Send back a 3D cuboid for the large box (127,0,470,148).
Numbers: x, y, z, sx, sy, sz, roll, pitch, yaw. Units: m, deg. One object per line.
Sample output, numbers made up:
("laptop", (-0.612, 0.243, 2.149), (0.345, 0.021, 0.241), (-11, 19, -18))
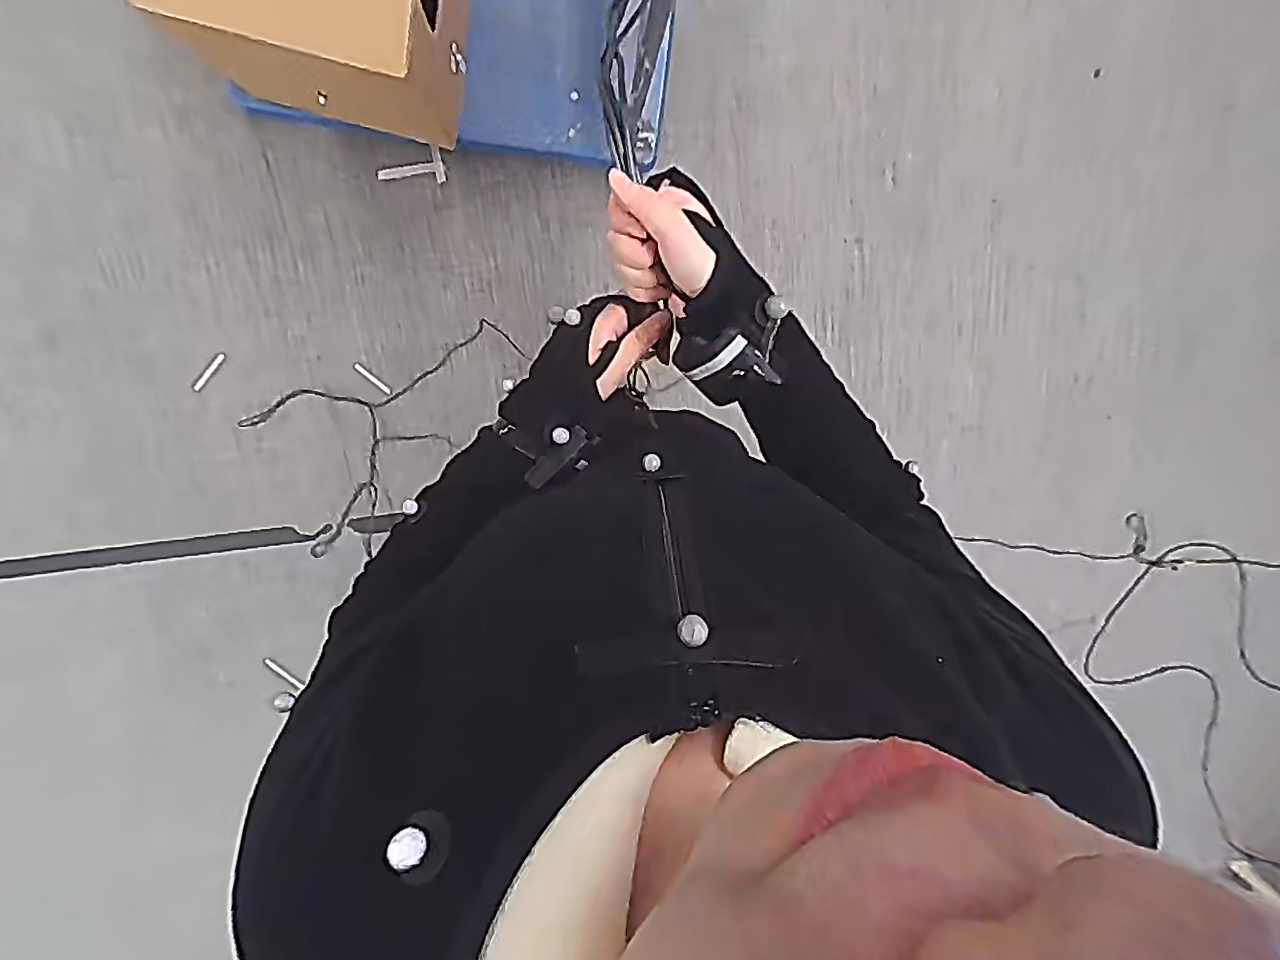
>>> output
("large box", (-0.537, -0.827, 0.925), (0.408, 0.320, 0.320), (11, 101, -7))
